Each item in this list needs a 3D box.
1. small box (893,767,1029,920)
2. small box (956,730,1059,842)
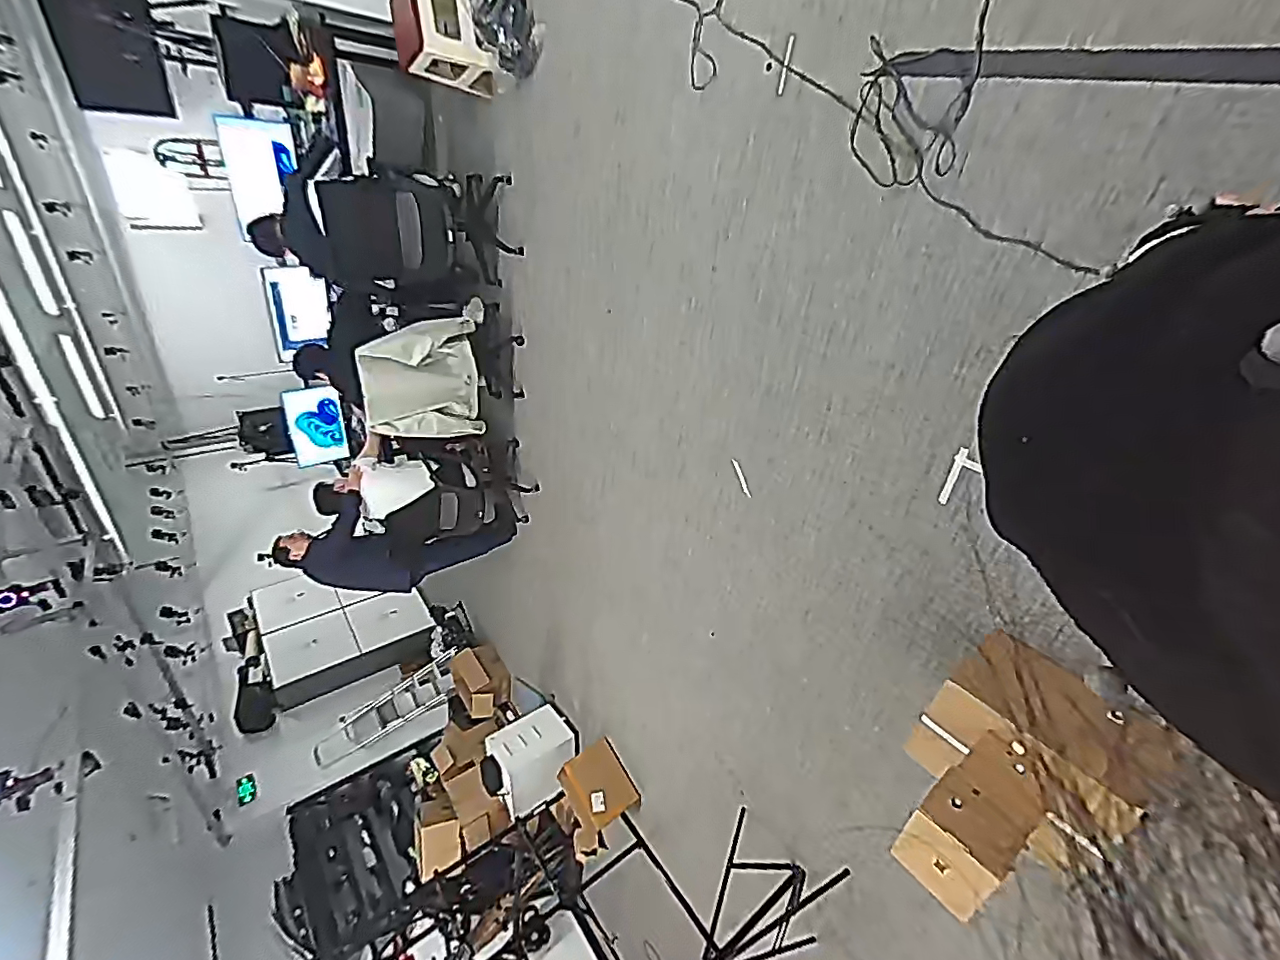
[{"bbox_3d":[0.672,0.747,1.130,0.168,0.176,0.179,36,132,42],"label":"small box"},{"bbox_3d":[0.801,0.714,1.223,0.168,0.176,0.179,36,131,40],"label":"small box"}]
